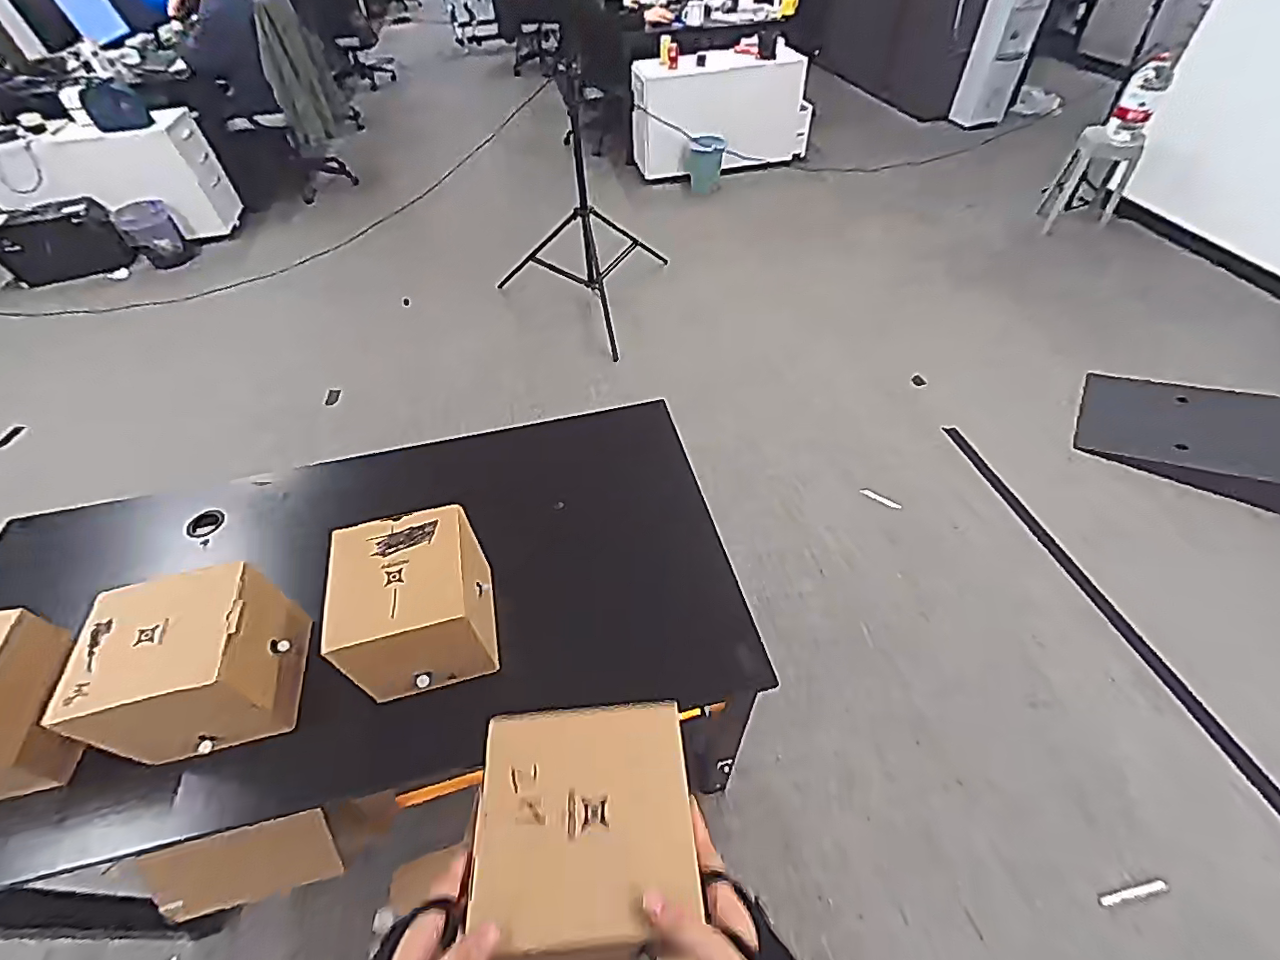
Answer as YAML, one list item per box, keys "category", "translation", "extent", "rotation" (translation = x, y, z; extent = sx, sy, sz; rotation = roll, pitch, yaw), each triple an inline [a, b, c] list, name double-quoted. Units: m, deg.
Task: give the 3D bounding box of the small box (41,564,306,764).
- category: "small box"
  translation: [-0.557, 0.233, 0.683]
  extent: [0.179, 0.176, 0.168]
  rotation: [-12, 49, -9]

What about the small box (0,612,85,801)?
- category: "small box"
  translation: [-0.813, 0.285, 0.651]
  extent: [0.179, 0.176, 0.168]
  rotation: [-10, 50, -7]

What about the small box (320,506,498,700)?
- category: "small box"
  translation: [-0.297, 0.166, 0.727]
  extent: [0.168, 0.176, 0.179]
  rotation: [-13, 50, -8]
